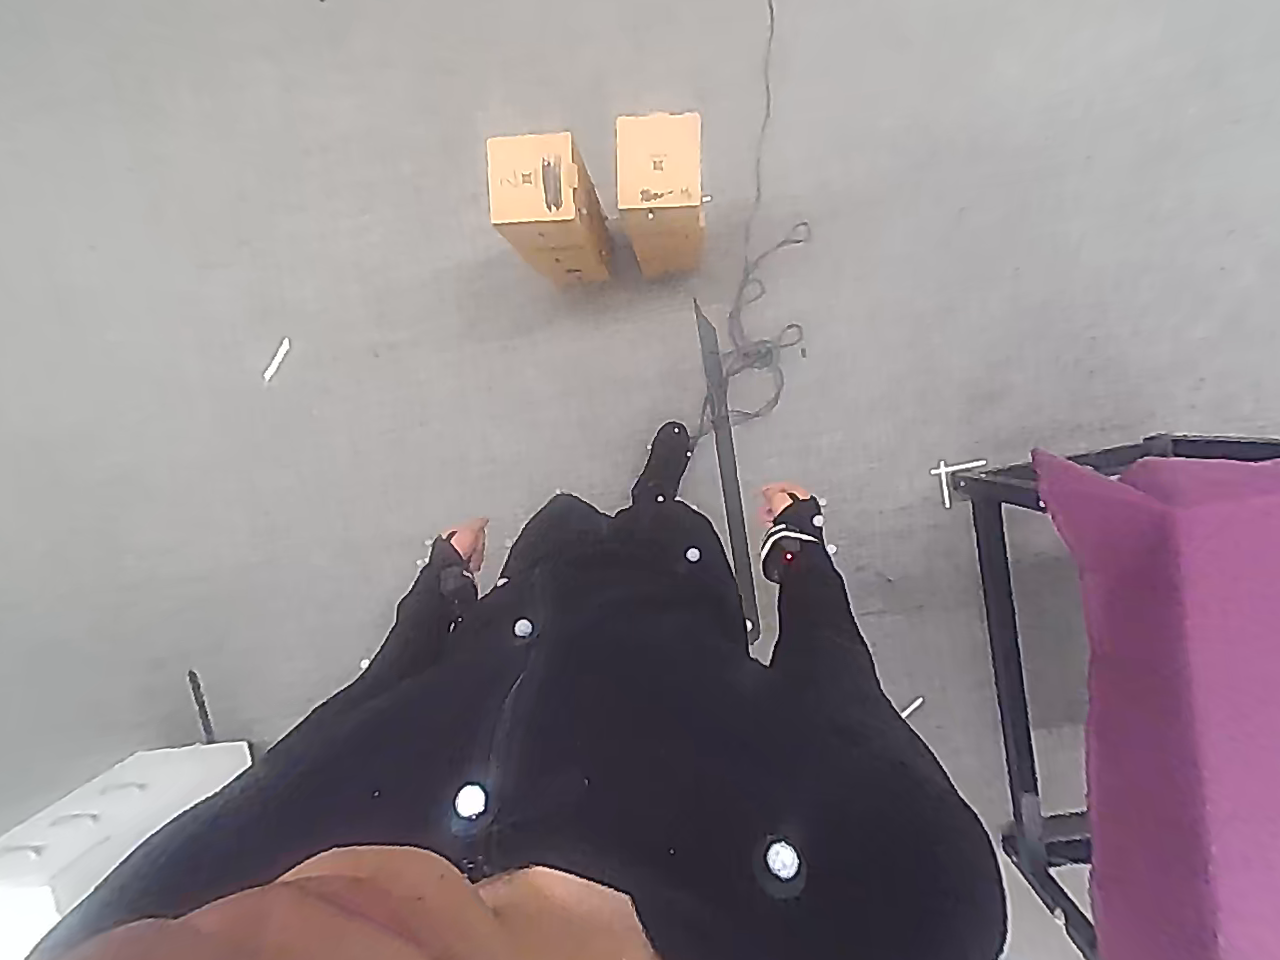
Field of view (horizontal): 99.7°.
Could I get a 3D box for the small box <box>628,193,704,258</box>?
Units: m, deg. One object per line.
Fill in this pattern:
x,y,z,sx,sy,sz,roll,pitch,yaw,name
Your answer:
0.059,-0.649,1.295,0.179,0.176,0.168,-7,95,5,small box

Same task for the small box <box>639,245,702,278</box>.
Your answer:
0.071,-0.667,1.456,0.168,0.176,0.179,-9,96,6,small box

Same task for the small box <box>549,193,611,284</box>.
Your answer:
-0.174,-0.651,1.474,0.168,0.176,0.179,-4,96,6,small box

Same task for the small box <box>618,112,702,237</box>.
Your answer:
0.044,-0.630,1.133,0.168,0.176,0.179,0,95,5,small box

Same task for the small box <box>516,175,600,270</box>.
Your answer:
-0.191,-0.617,1.313,0.179,0.176,0.168,0,96,6,small box
